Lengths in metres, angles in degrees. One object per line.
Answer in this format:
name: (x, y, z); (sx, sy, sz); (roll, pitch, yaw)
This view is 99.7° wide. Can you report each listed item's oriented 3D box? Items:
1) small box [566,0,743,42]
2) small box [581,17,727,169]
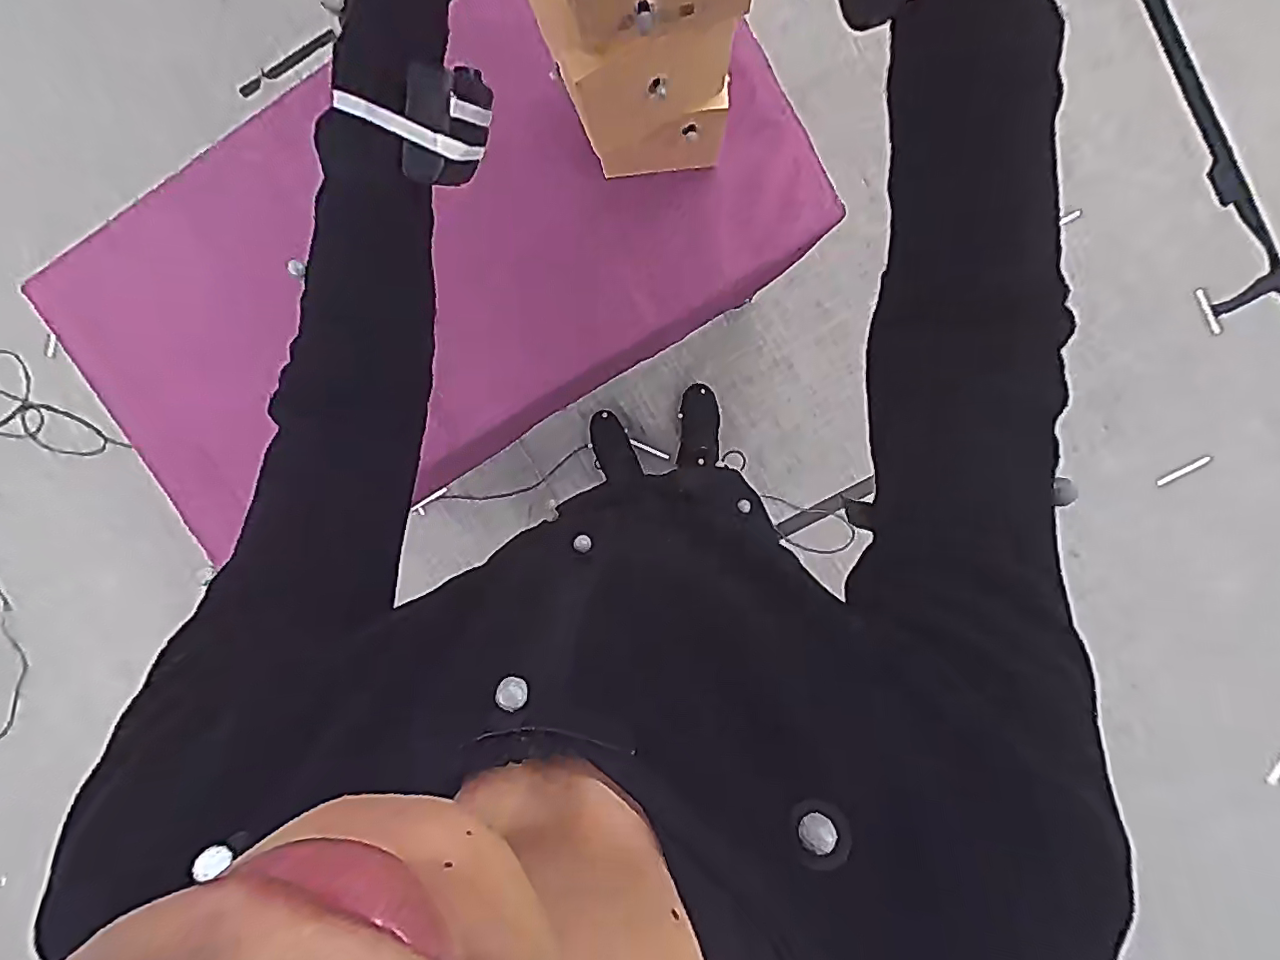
small box: (0.000, -0.492, 0.412); (0.168, 0.176, 0.179); (-8, 100, 6)
small box: (0.019, -0.548, 0.734); (0.179, 0.176, 0.168); (-4, 98, 4)
